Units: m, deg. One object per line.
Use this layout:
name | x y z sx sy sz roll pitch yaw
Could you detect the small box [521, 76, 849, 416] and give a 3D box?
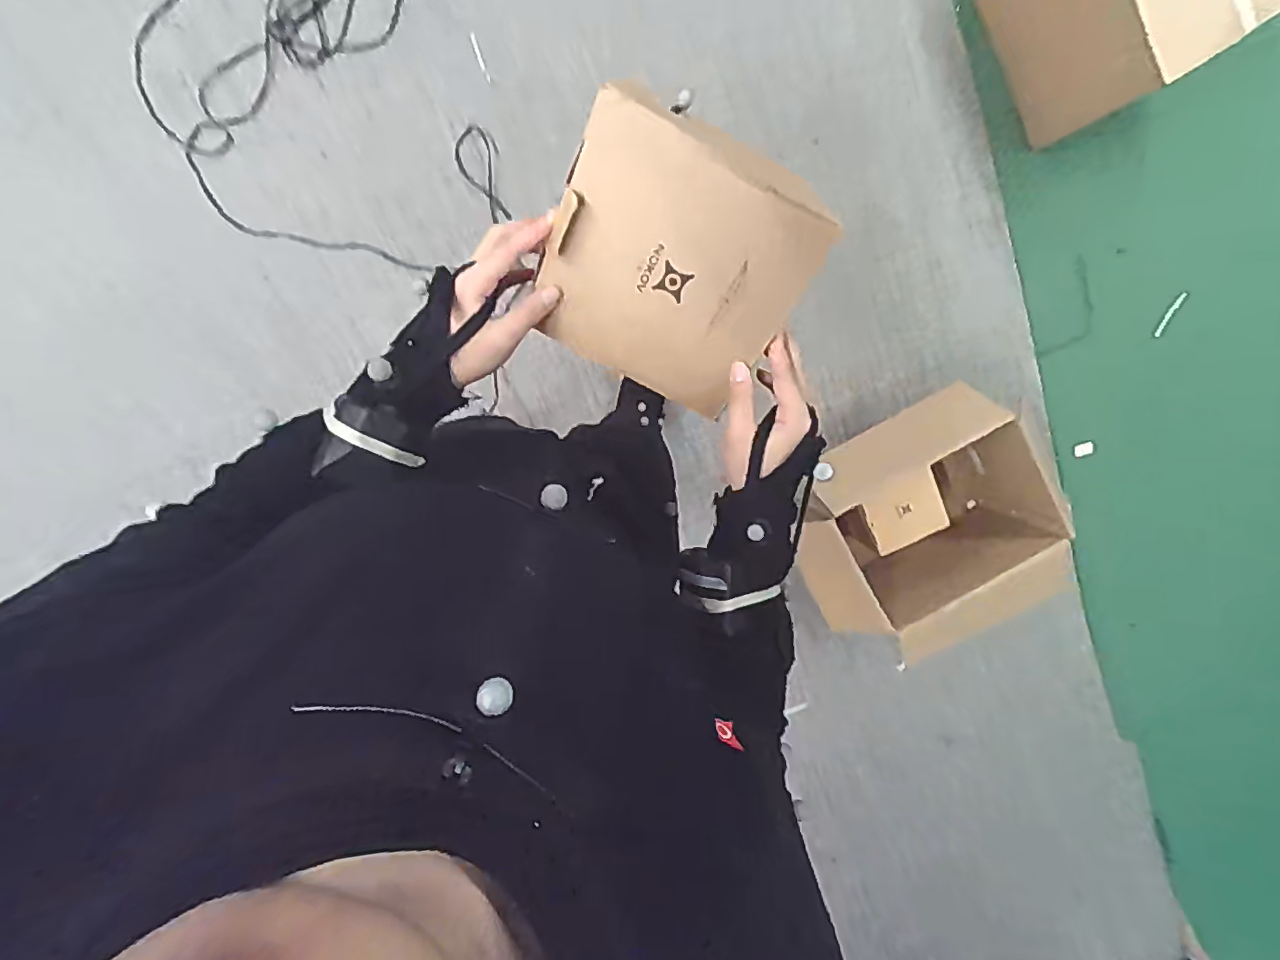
small box | 0.031 -0.188 0.435 0.179 0.176 0.168 24 127 -9
